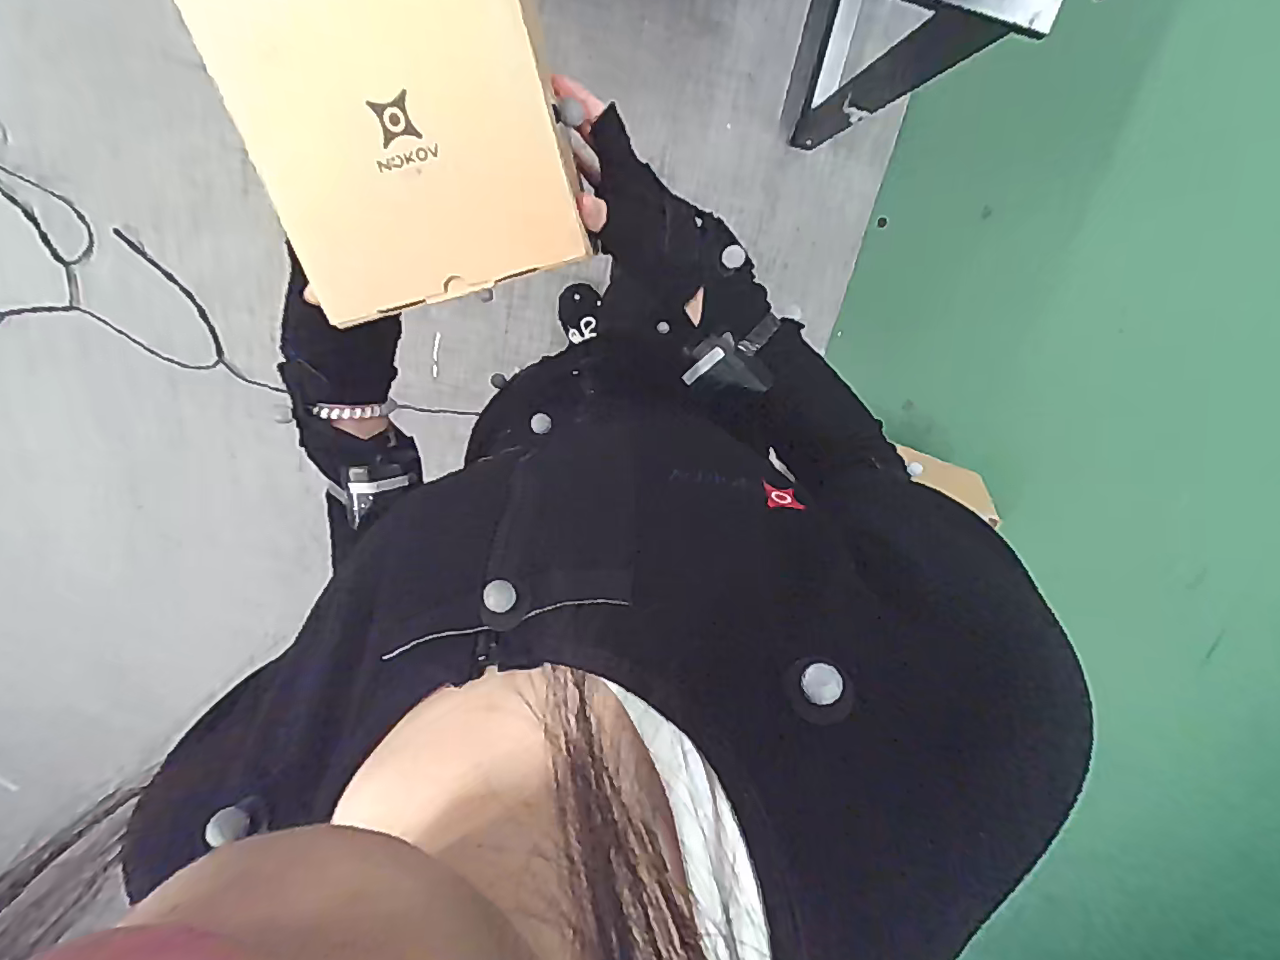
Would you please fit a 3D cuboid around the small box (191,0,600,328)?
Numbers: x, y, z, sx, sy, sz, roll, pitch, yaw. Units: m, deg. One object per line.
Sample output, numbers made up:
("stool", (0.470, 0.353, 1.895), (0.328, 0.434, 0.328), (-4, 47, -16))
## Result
("small box", (-0.129, -0.220, 0.367), (0.168, 0.176, 0.179), (-14, 115, 3))
